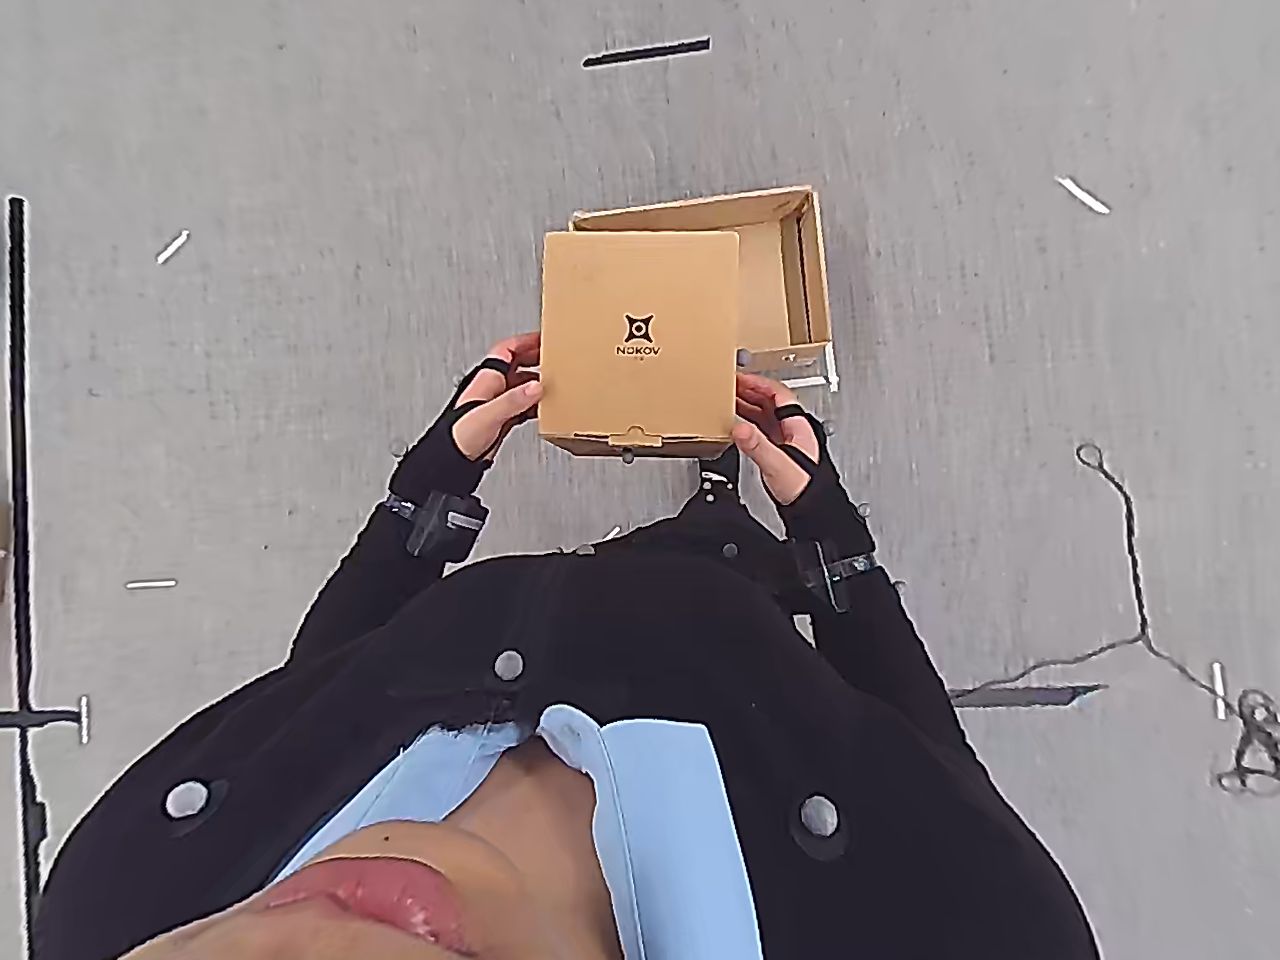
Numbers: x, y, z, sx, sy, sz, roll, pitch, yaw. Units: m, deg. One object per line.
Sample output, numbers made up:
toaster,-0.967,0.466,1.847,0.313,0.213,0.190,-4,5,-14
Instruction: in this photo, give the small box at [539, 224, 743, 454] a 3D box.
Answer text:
small box,0.004,-0.122,0.525,0.168,0.176,0.179,1,88,3
